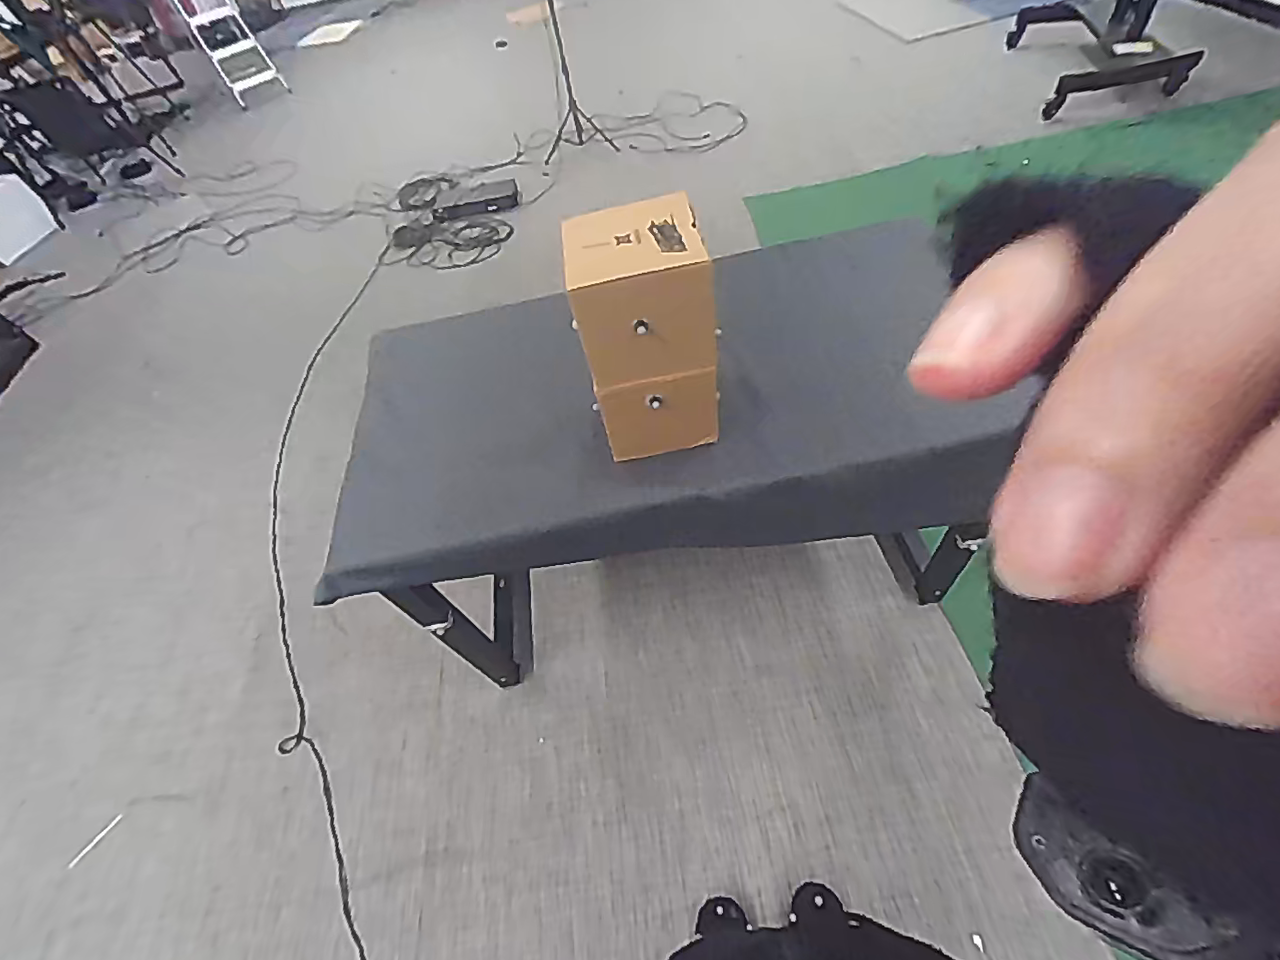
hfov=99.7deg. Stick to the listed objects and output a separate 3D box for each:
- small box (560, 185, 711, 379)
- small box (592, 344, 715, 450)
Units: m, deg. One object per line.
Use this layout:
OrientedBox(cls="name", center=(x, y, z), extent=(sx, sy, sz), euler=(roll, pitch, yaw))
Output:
OrientedBox(cls="small box", center=(-0.001, -0.263, 0.739), extent=(0.179, 0.176, 0.168), euler=(-11, 55, 4))
OrientedBox(cls="small box", center=(0.019, -0.168, 0.872), extent=(0.179, 0.176, 0.168), euler=(-11, 55, 1))
